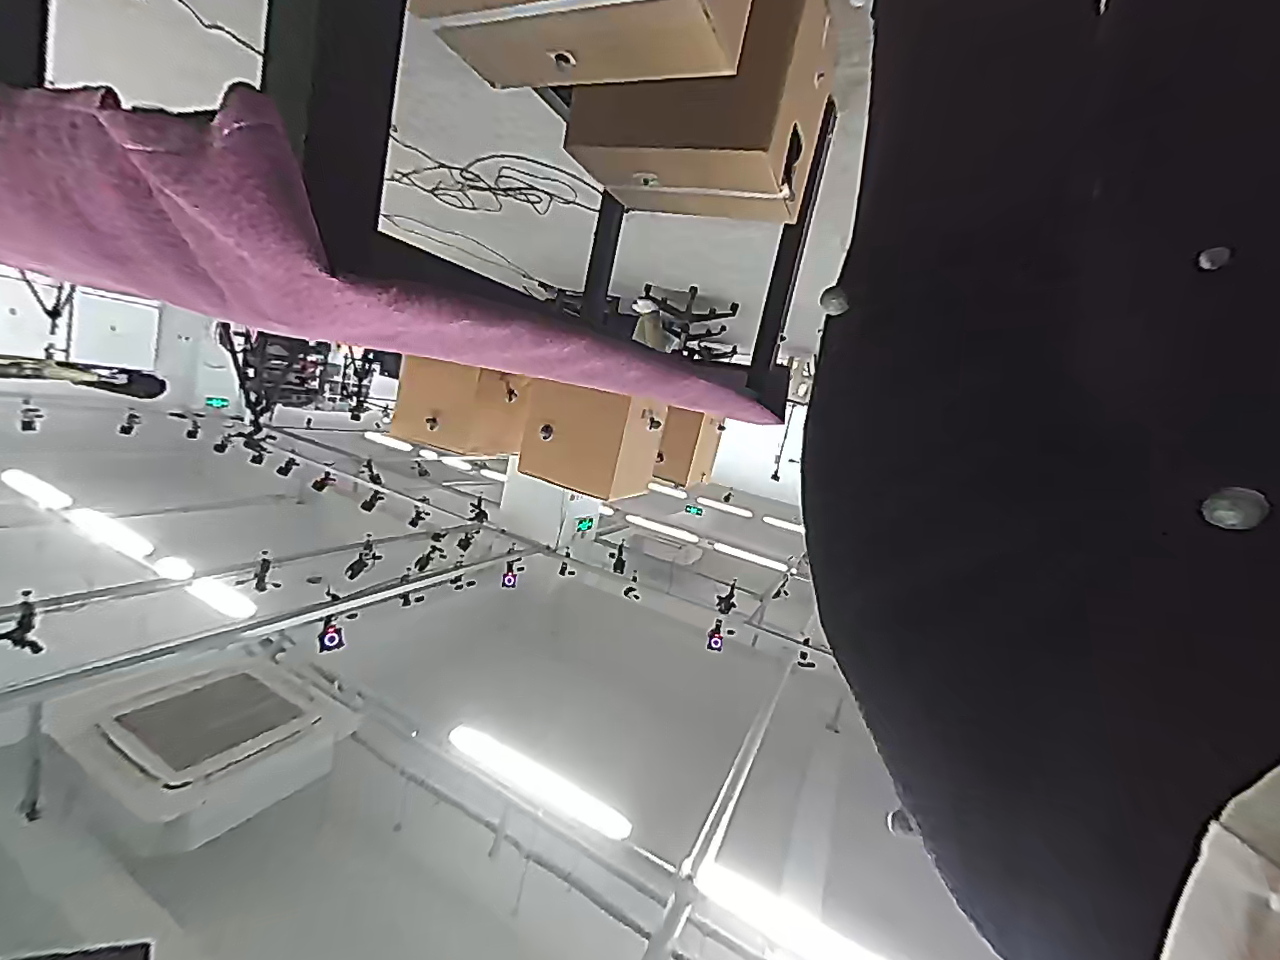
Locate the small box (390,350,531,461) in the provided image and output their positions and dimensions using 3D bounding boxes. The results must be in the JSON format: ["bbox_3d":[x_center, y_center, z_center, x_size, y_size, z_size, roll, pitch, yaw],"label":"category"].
[{"bbox_3d":[-0.327,-0.138,1.008,0.179,0.176,0.168,15,-172,21],"label":"small box"}]

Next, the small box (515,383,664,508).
[{"bbox_3d":[-0.079,-0.064,0.915,0.179,0.176,0.168,17,-170,21],"label":"small box"}]

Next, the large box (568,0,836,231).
[{"bbox_3d":[0.131,-0.724,1.070,0.408,0.320,0.320,18,-171,23],"label":"large box"}]

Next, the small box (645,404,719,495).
[{"bbox_3d":[0.070,-0.075,1.245,0.179,0.176,0.168,19,-171,24],"label":"small box"}]
